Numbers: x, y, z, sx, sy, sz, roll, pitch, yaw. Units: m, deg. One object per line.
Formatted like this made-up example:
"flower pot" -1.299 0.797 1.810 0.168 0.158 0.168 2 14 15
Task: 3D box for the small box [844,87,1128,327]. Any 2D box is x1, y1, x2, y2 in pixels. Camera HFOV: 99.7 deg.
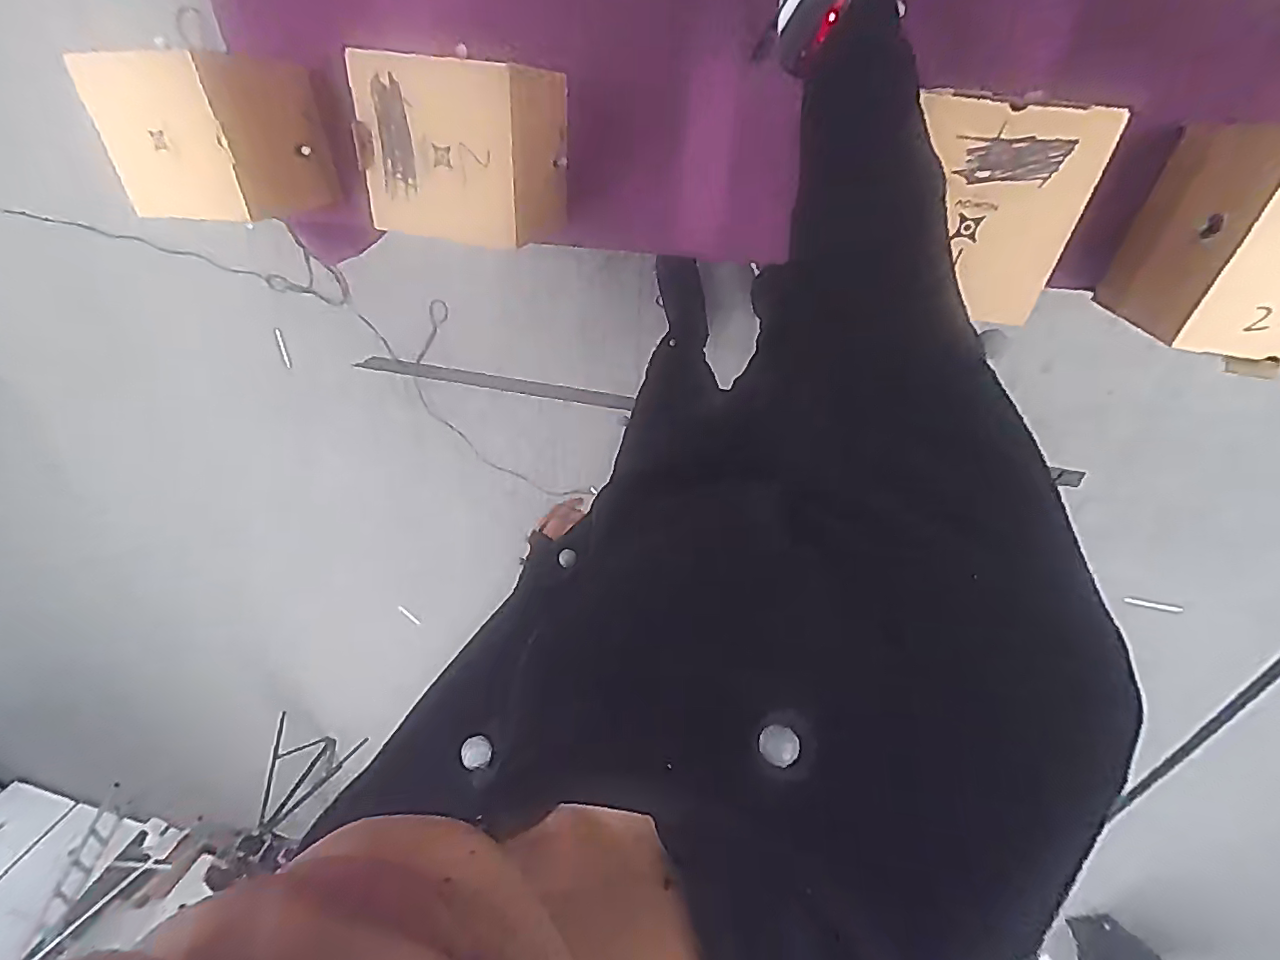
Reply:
"small box" 0.313 -0.277 0.543 0.168 0.176 0.179 12 126 8

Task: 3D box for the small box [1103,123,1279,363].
"small box" 0.588 -0.219 0.499 0.168 0.176 0.179 13 125 9

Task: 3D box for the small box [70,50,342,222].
"small box" -0.526 -0.431 0.686 0.179 0.176 0.168 6 124 11
